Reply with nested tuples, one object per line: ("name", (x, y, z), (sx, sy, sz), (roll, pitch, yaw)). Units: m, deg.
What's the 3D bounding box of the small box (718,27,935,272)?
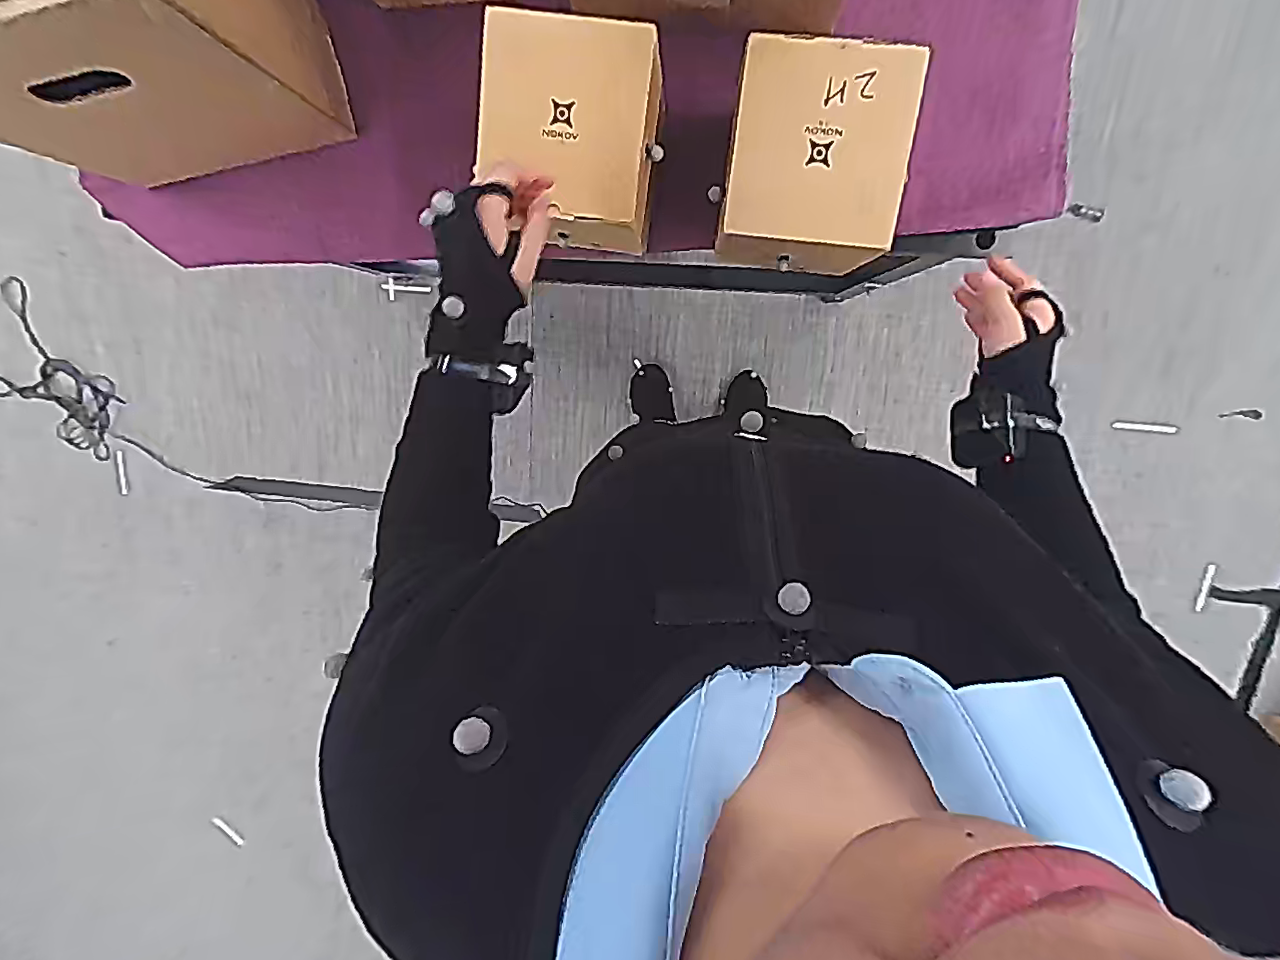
("small box", (0.178, -0.331, 0.580), (0.168, 0.176, 0.179), (7, 102, 3))
